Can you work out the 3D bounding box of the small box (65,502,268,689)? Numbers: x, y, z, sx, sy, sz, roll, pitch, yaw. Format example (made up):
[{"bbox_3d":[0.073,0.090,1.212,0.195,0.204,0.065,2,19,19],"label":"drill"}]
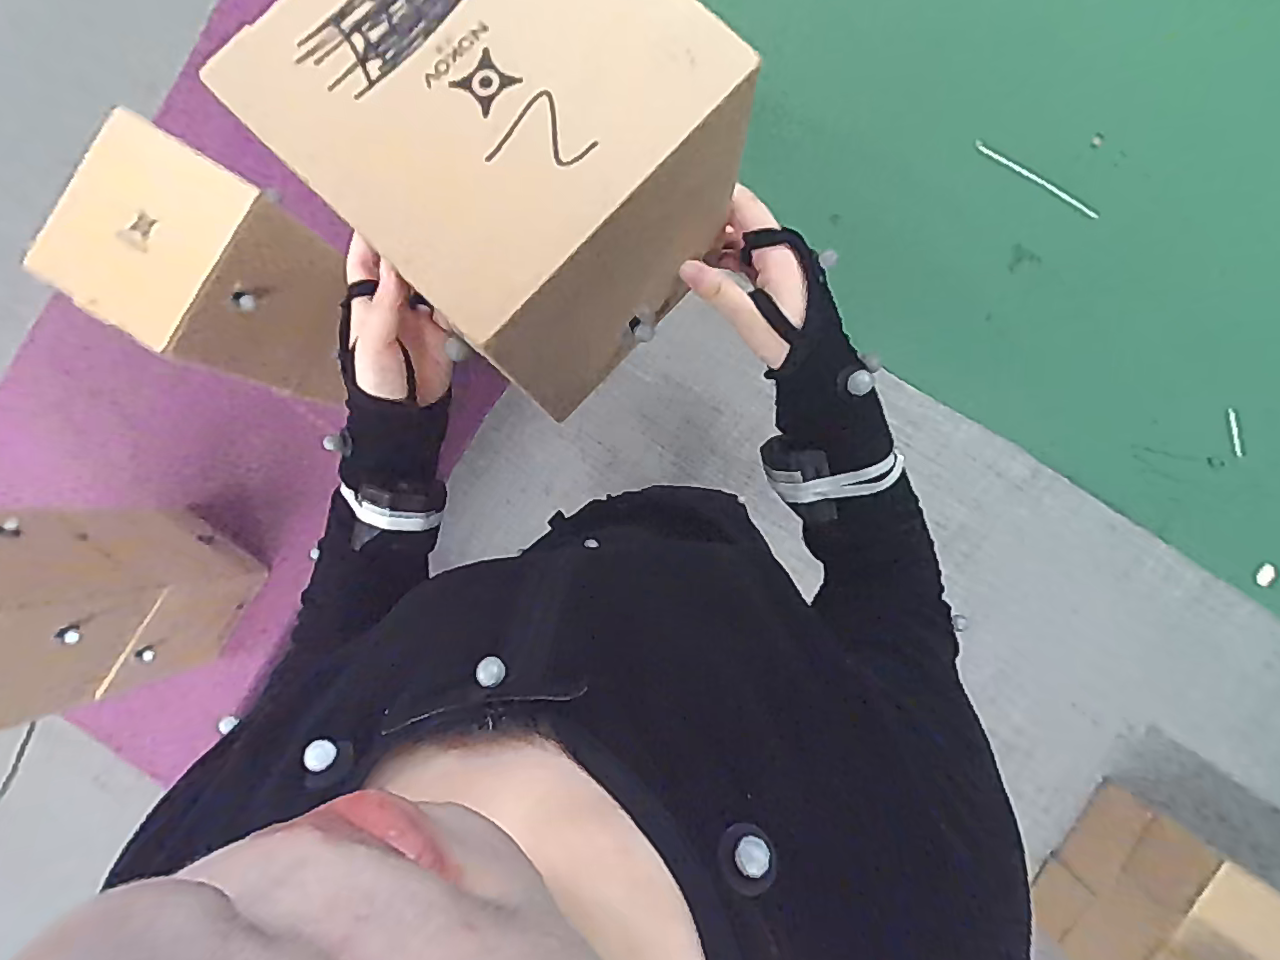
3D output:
[{"bbox_3d":[-0.675,0.145,0.742,0.179,0.176,0.168,33,91,5],"label":"small box"}]

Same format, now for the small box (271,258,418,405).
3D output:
[{"bbox_3d":[-0.439,-0.221,0.737,0.168,0.176,0.179,32,90,4],"label":"small box"}]

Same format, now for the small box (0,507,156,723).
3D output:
[{"bbox_3d":[-0.686,0.140,0.578,0.168,0.176,0.179,35,91,5],"label":"small box"}]

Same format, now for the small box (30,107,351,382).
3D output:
[{"bbox_3d":[-0.448,-0.229,0.574,0.168,0.176,0.179,32,92,4],"label":"small box"}]
